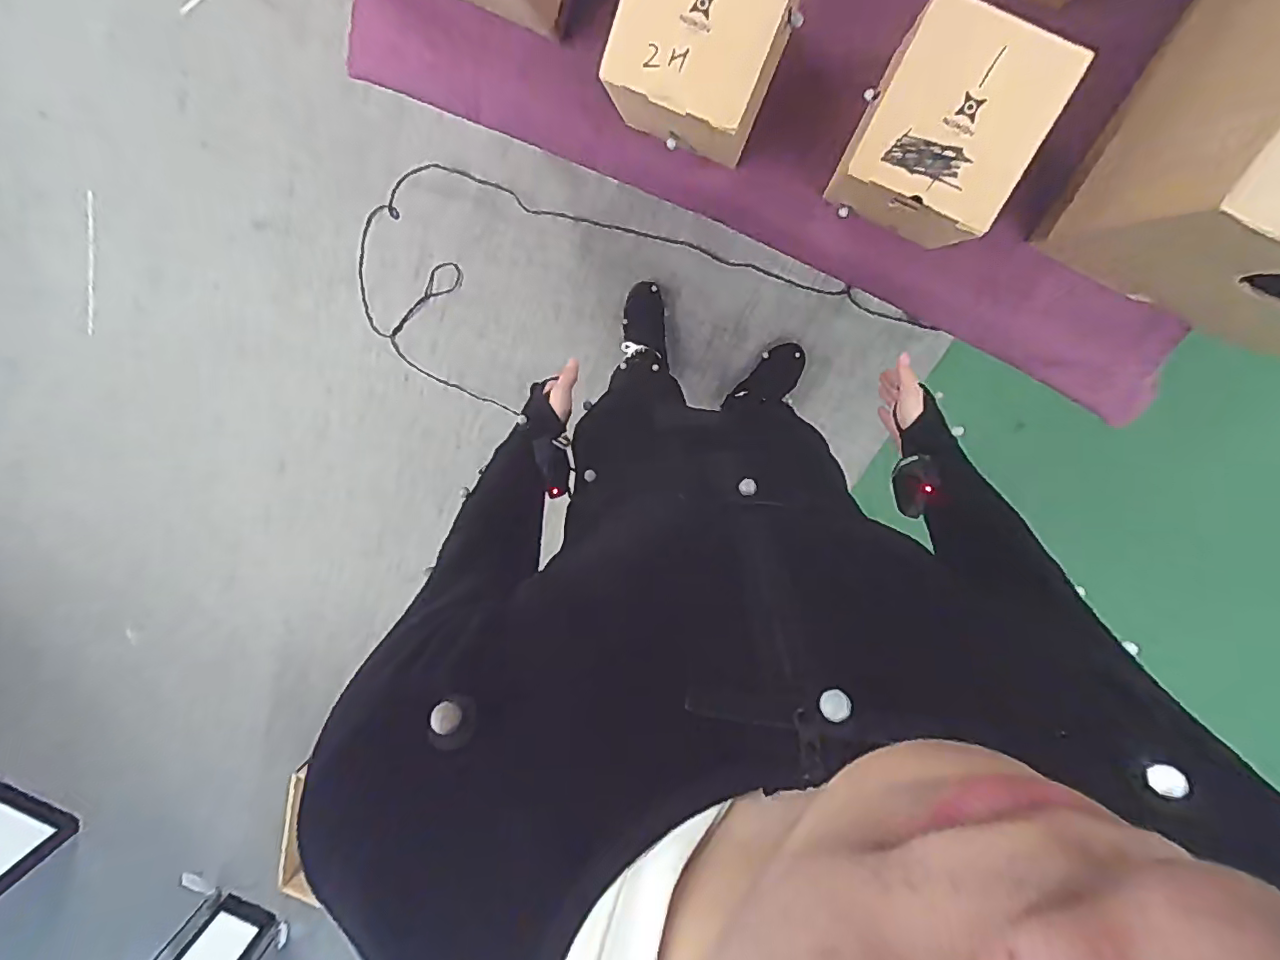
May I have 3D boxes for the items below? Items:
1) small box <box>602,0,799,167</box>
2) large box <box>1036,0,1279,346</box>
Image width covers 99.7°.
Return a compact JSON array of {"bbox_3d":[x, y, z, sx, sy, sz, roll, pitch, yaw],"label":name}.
[{"bbox_3d":[0.074,-0.501,0.629,0.168,0.176,0.179,24,110,2],"label":"small box"},{"bbox_3d":[0.702,-0.362,0.499,0.320,0.320,0.408,26,112,1],"label":"large box"}]
